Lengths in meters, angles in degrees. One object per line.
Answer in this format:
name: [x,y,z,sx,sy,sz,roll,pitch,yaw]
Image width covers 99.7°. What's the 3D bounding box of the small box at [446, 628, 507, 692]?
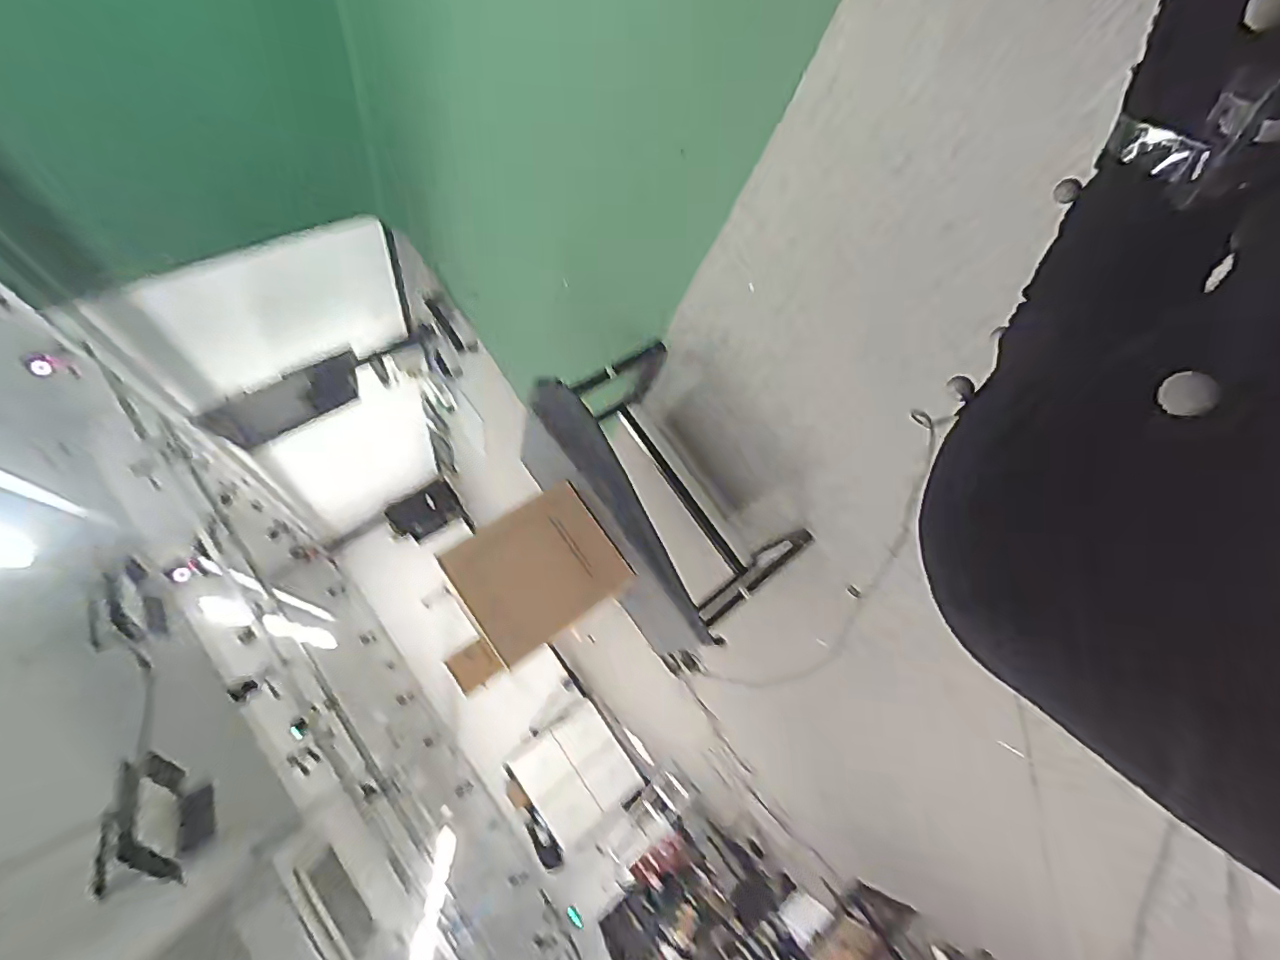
small box: [-0.629,0.696,2.095,0.168,0.176,0.179,52,155,12]
